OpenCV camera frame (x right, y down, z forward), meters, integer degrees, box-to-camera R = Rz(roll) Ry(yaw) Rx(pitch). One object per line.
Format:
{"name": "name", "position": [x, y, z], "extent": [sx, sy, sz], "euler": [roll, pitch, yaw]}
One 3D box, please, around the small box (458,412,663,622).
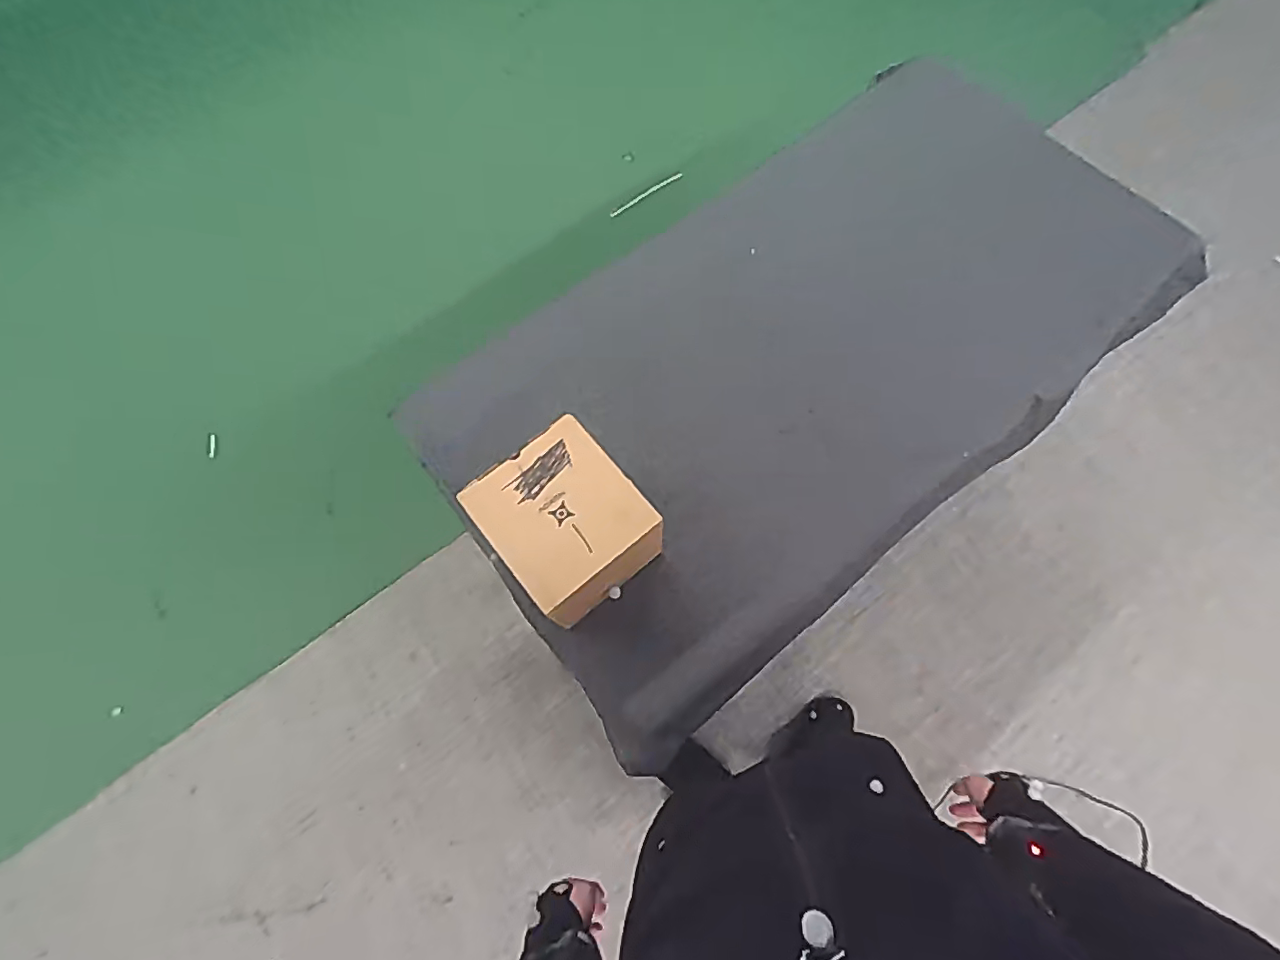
{"name": "small box", "position": [-0.089, 0.055, 0.669], "extent": [0.168, 0.176, 0.179], "euler": [-37, 73, -12]}
